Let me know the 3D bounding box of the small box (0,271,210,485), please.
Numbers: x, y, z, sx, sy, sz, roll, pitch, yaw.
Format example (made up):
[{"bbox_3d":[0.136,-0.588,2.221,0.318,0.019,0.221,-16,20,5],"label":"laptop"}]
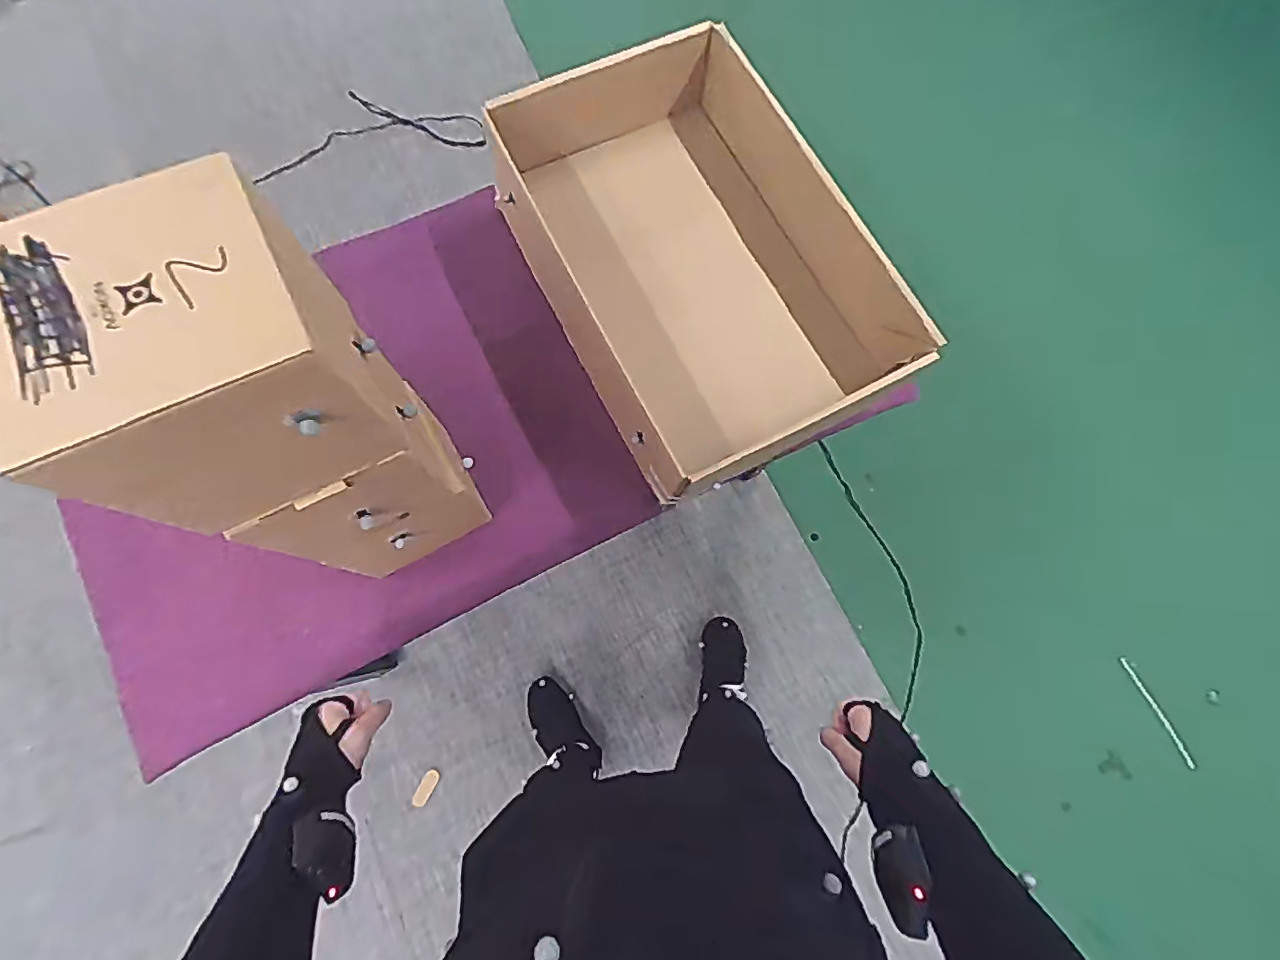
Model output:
[{"bbox_3d":[-0.594,-0.108,0.558,0.168,0.176,0.179,15,75,-2],"label":"small box"}]

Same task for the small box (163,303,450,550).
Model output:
[{"bbox_3d":[-0.321,-0.039,0.558,0.168,0.176,0.179,-28,79,-11],"label":"small box"}]

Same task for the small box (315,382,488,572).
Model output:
[{"bbox_3d":[-0.327,0.007,0.715,0.179,0.176,0.168,-29,78,-11],"label":"small box"}]

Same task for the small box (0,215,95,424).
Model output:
[{"bbox_3d":[-0.587,-0.147,0.401,0.179,0.176,0.168,14,76,-1],"label":"small box"}]
